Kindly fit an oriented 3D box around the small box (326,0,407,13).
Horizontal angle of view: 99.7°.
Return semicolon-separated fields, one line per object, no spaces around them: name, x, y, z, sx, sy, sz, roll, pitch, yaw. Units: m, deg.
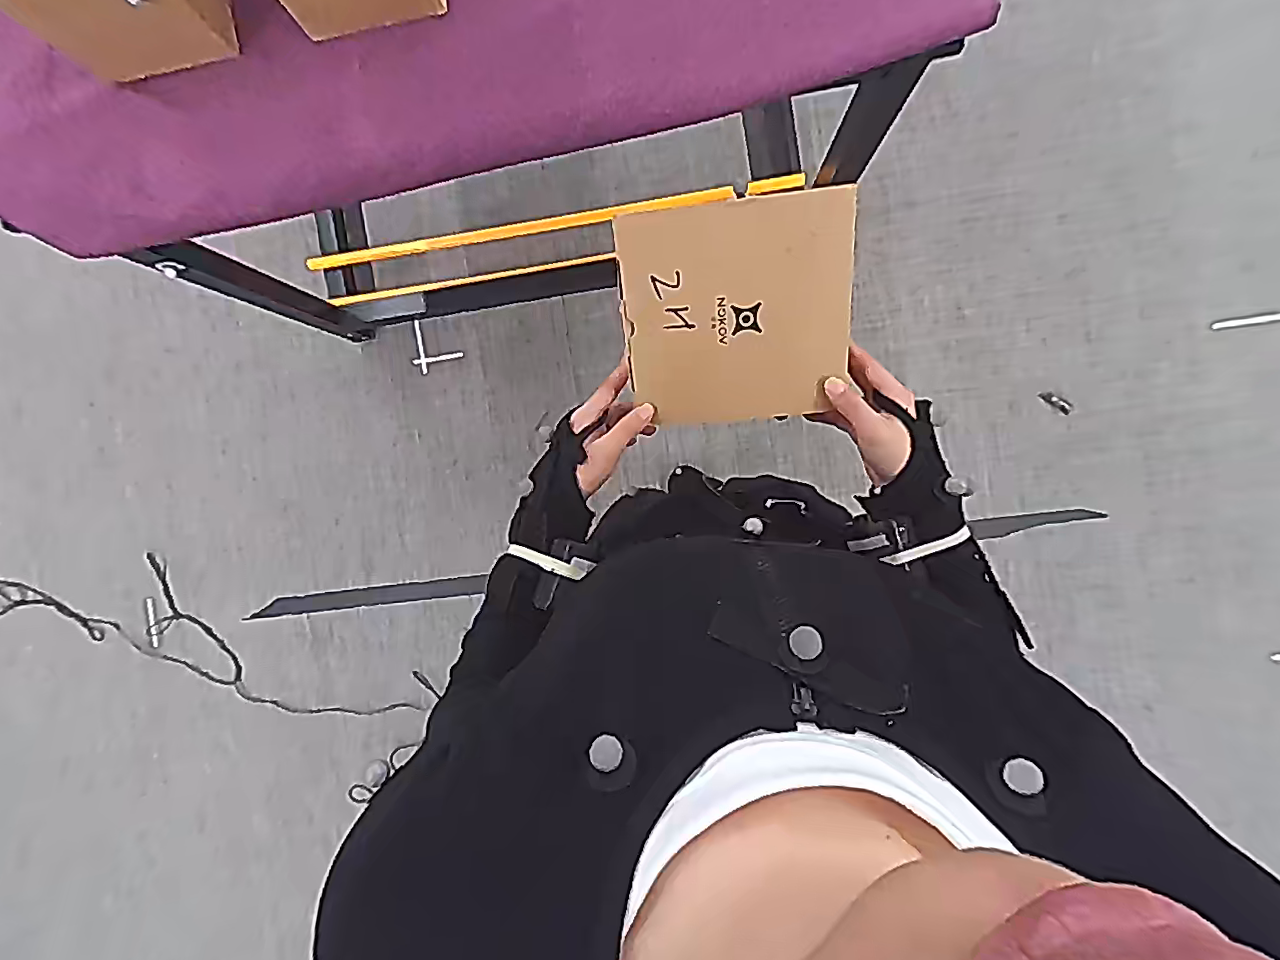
small box;-0.310;-0.660;0.579;0.179;0.176;0.168;-8;91;6

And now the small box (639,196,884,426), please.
small box;0.096;-0.156;0.488;0.179;0.176;0.168;-2;114;7
